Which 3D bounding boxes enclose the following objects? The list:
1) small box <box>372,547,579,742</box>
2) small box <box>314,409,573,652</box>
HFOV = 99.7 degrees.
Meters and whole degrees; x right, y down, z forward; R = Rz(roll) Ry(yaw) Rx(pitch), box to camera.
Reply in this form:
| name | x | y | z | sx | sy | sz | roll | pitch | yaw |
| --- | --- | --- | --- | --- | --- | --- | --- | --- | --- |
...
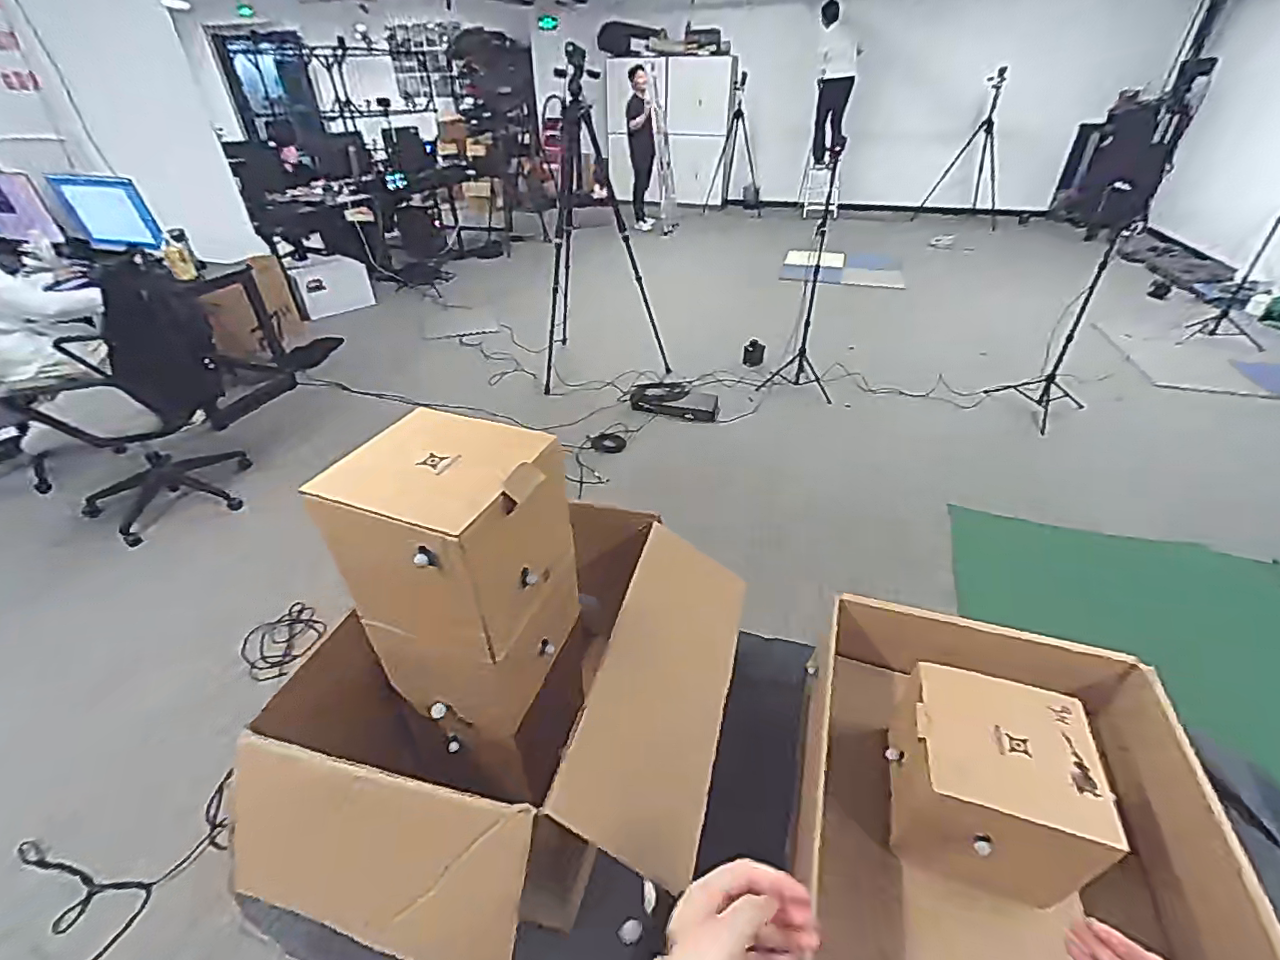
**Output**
| name | x | y | z | sx | sy | sz | roll | pitch | yaw |
| --- | --- | --- | --- | --- | --- | --- | --- | --- | --- |
| small box | -0.182 | 0.177 | 0.662 | 0.168 | 0.176 | 0.179 | 13 | 40 | 16 |
| small box | -0.185 | 0.049 | 0.563 | 0.179 | 0.176 | 0.168 | 13 | 39 | 17 |
